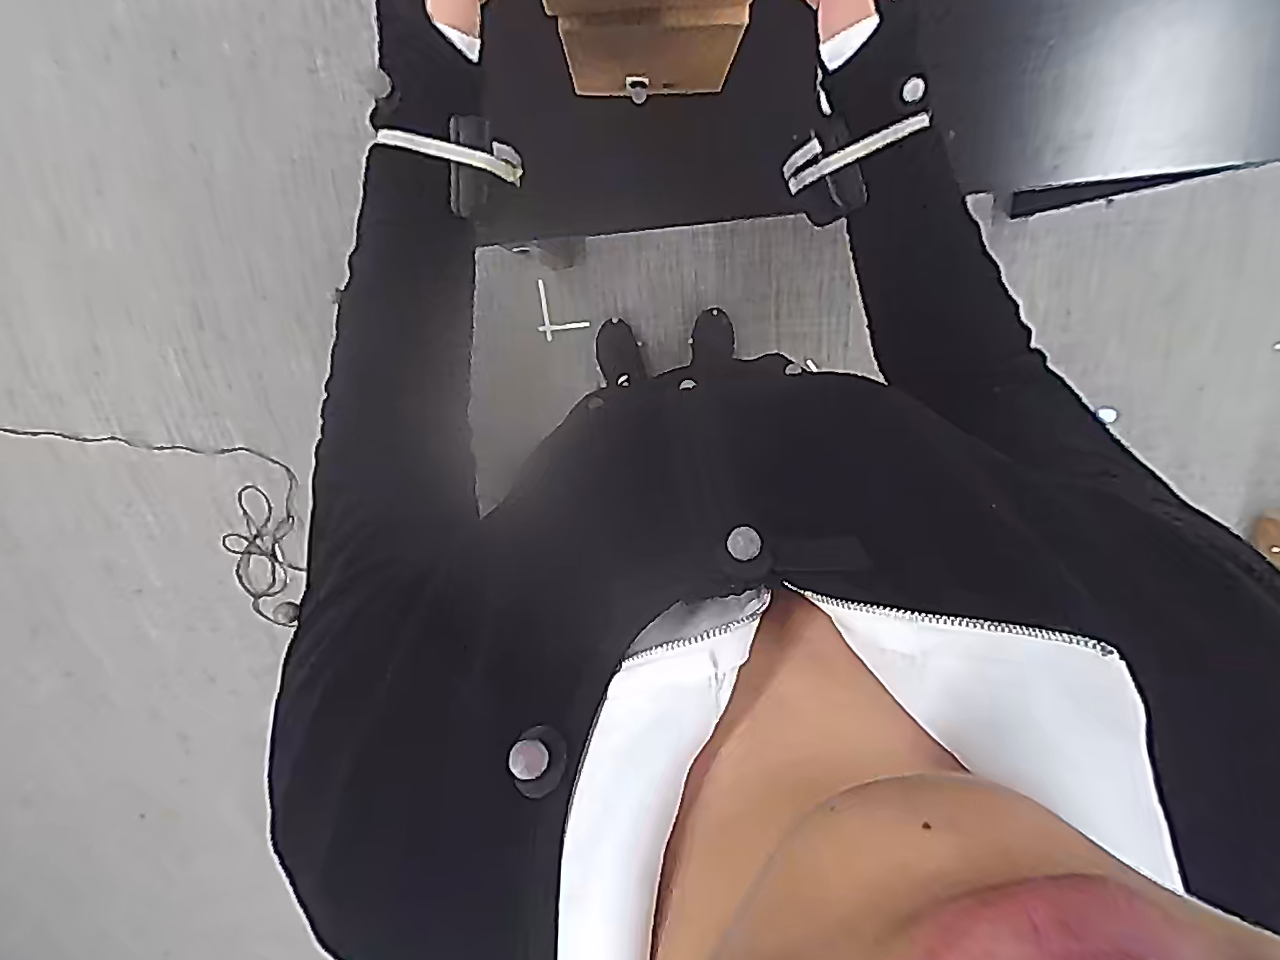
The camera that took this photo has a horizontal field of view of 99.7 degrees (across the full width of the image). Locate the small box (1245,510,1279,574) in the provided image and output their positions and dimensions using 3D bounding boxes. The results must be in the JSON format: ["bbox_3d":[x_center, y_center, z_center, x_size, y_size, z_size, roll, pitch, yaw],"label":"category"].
[{"bbox_3d":[1.900,0.188,1.530,0.179,0.176,0.168,-3,109,1],"label":"small box"}]

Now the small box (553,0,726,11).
[{"bbox_3d":[0.009,-0.450,0.355,0.179,0.176,0.168,-2,107,1],"label":"small box"}]

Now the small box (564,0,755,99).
[{"bbox_3d":[0.013,-0.495,0.513,0.168,0.176,0.179,-2,109,1],"label":"small box"}]
